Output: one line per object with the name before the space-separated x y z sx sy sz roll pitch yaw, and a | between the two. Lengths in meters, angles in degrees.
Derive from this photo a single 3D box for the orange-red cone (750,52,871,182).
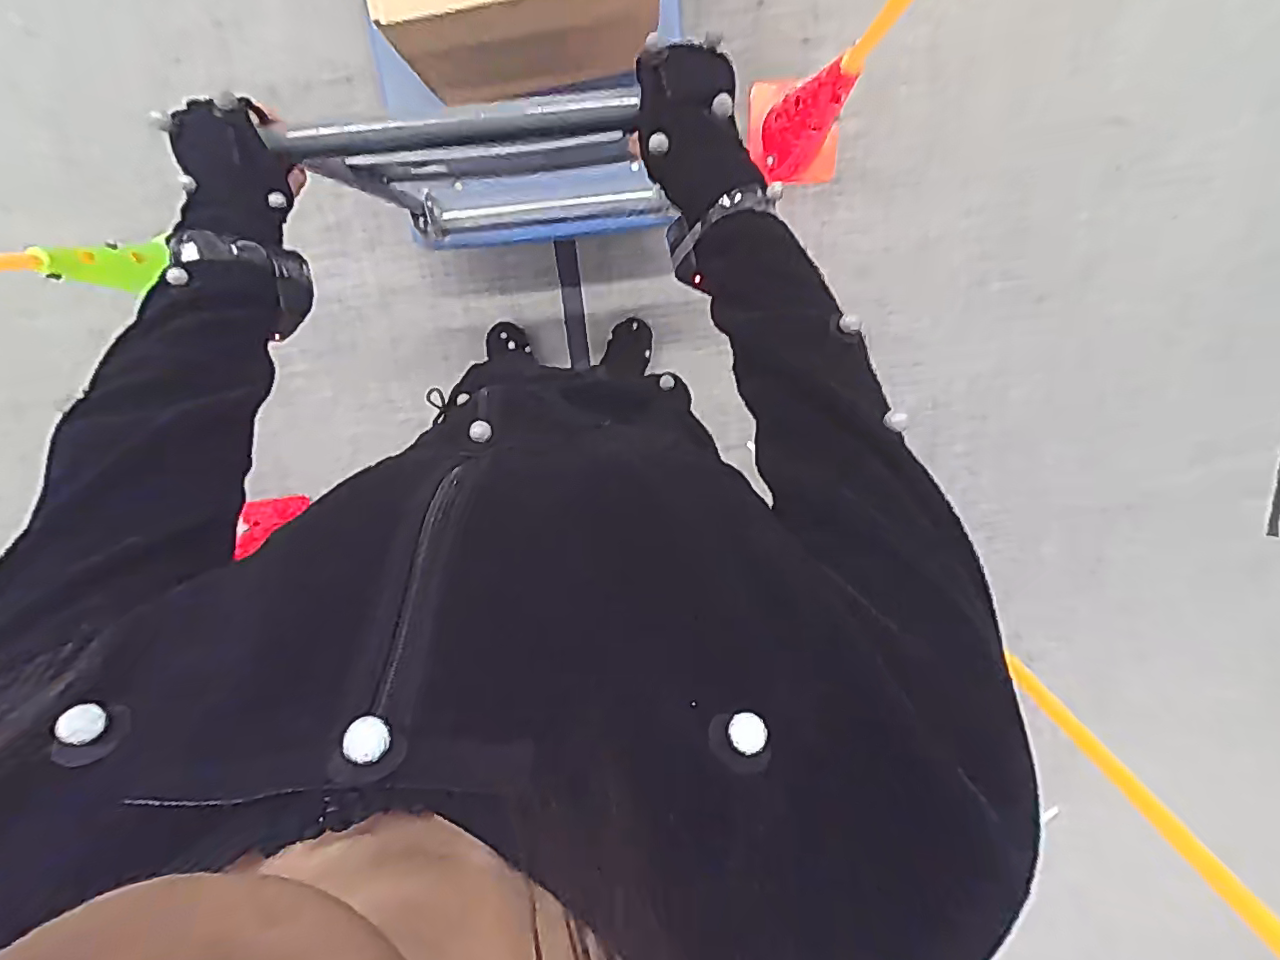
orange-red cone | 0.352 -0.720 1.034 0.199 0.360 0.198 0 107 -2
